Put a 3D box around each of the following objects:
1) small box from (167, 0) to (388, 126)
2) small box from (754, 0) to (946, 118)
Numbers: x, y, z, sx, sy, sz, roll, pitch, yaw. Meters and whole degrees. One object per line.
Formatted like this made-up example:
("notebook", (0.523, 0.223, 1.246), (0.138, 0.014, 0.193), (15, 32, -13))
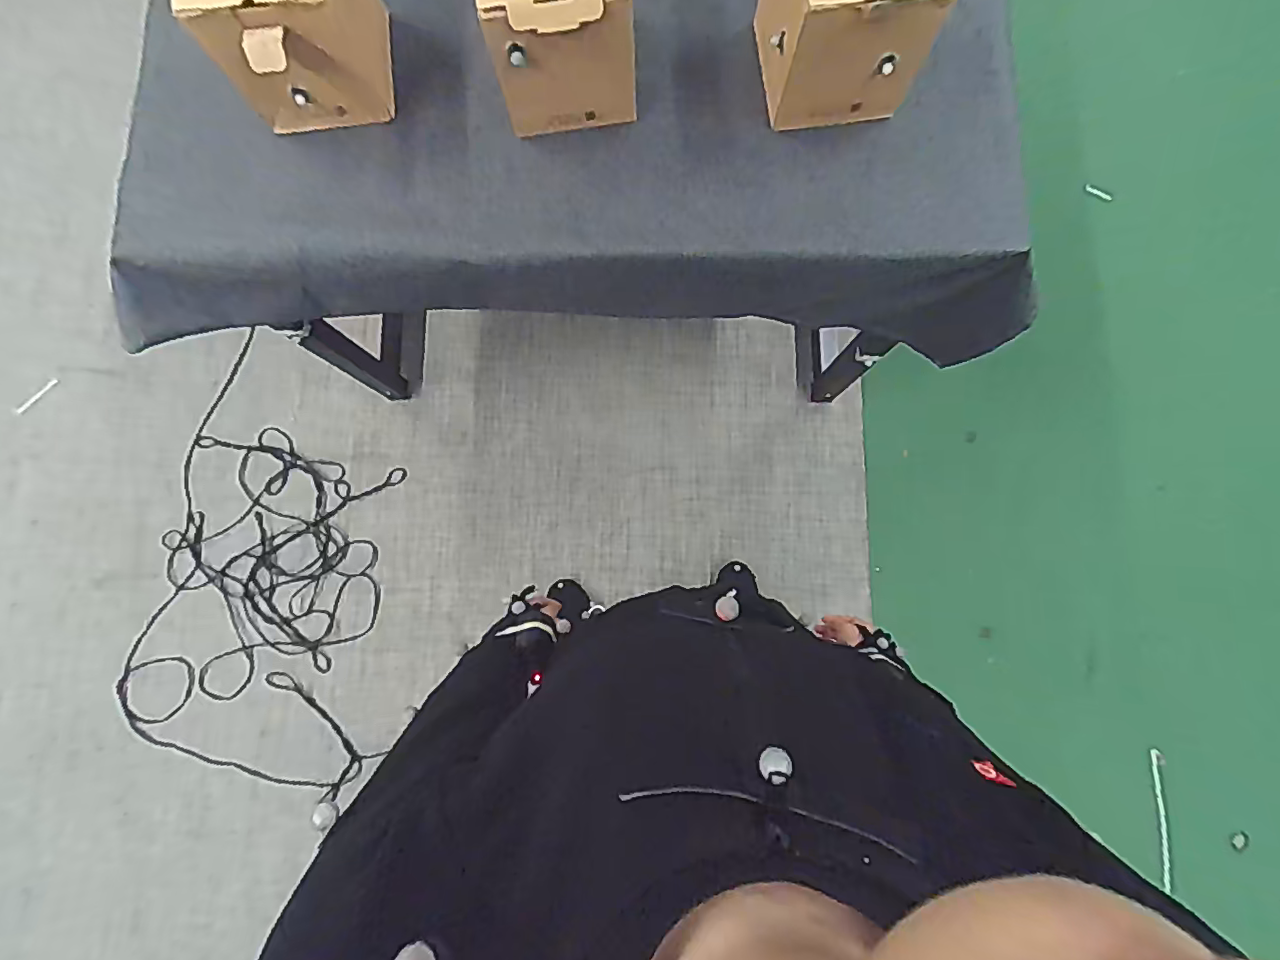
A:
("small box", (-0.428, -0.579, 0.662), (0.168, 0.176, 0.179), (-7, 82, -1))
("small box", (0.245, -0.575, 0.655), (0.168, 0.176, 0.179), (-7, 80, -1))
